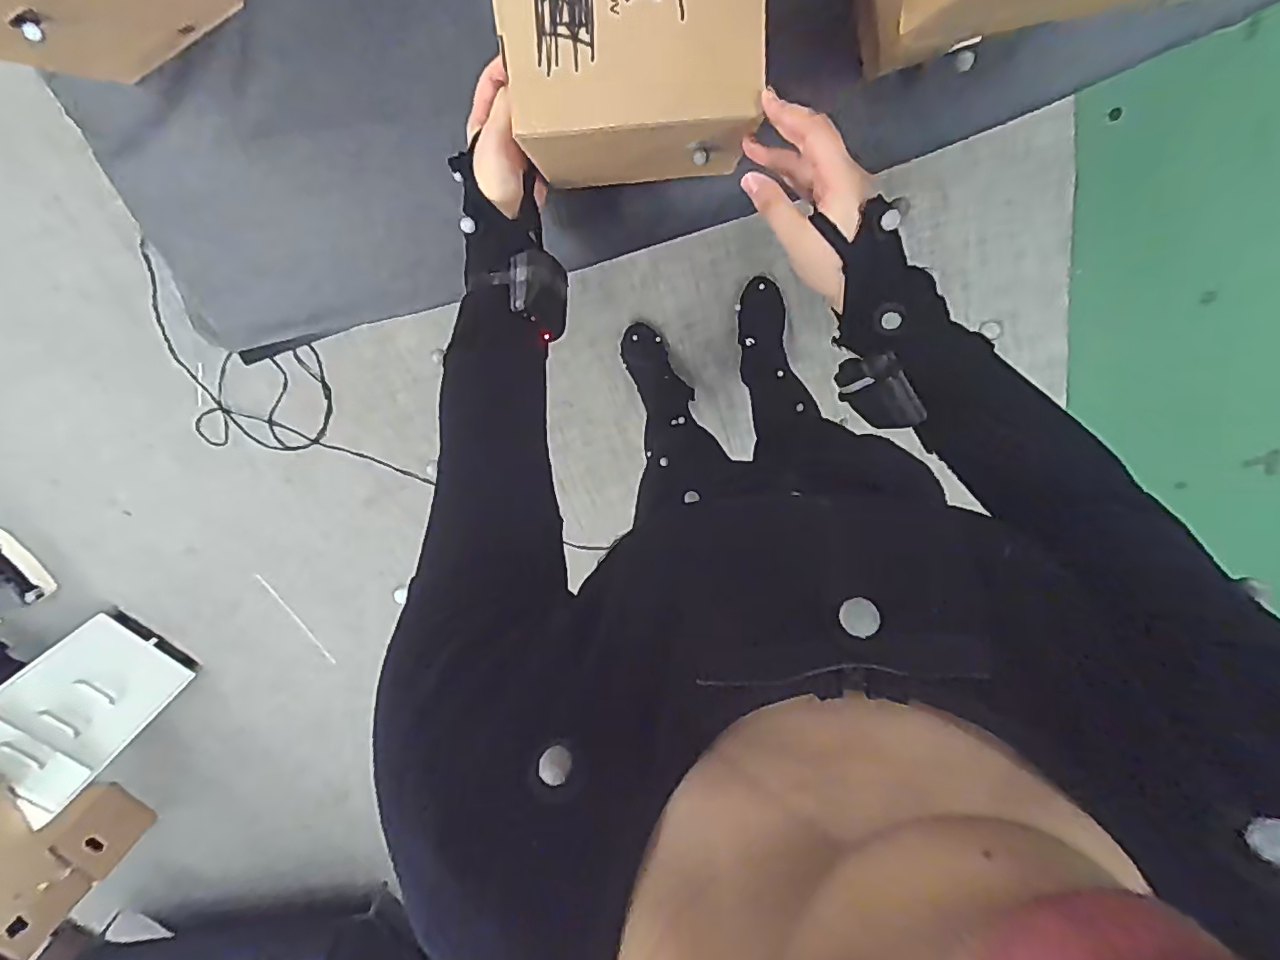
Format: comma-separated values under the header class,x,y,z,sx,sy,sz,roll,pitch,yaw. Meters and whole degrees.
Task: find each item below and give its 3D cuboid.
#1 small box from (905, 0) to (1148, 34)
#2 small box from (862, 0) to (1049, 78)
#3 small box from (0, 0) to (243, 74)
class,x,y,z,sx,sy,sz,roll,pitch,yaw
small box,0.240,-0.327,0.235,0.179,0.176,0.168,-3,118,9
small box,0.253,-0.416,0.371,0.168,0.176,0.179,-12,117,14
small box,-0.480,-0.463,0.424,0.168,0.176,0.179,-17,117,15
